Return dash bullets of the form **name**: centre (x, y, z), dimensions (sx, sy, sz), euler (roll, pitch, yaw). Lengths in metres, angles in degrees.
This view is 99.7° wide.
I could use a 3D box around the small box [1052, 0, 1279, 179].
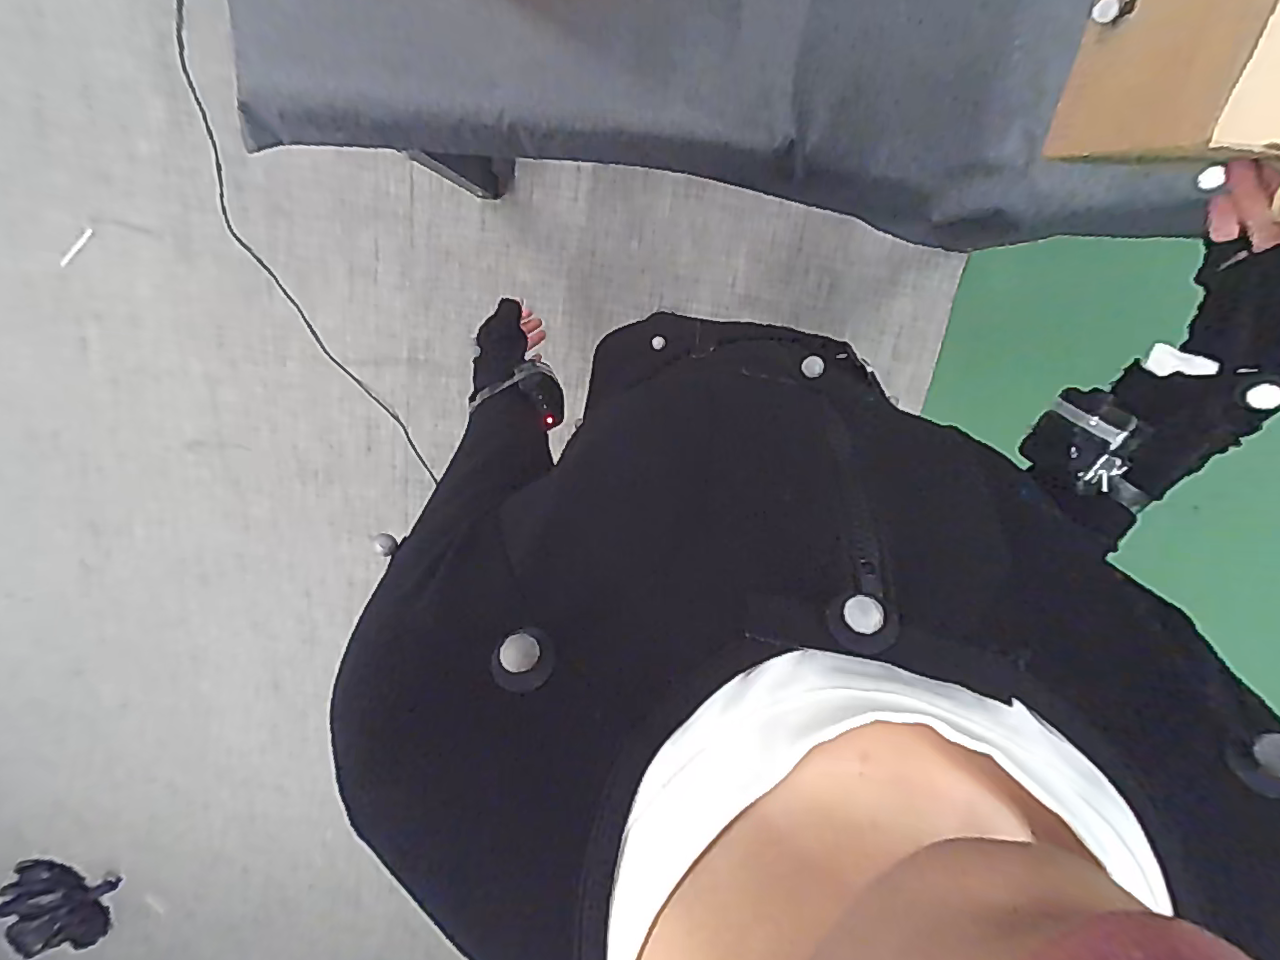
- **small box**: centre (0.403, -0.287, 0.329), dimensions (0.168, 0.176, 0.179), euler (5, 119, 2)
